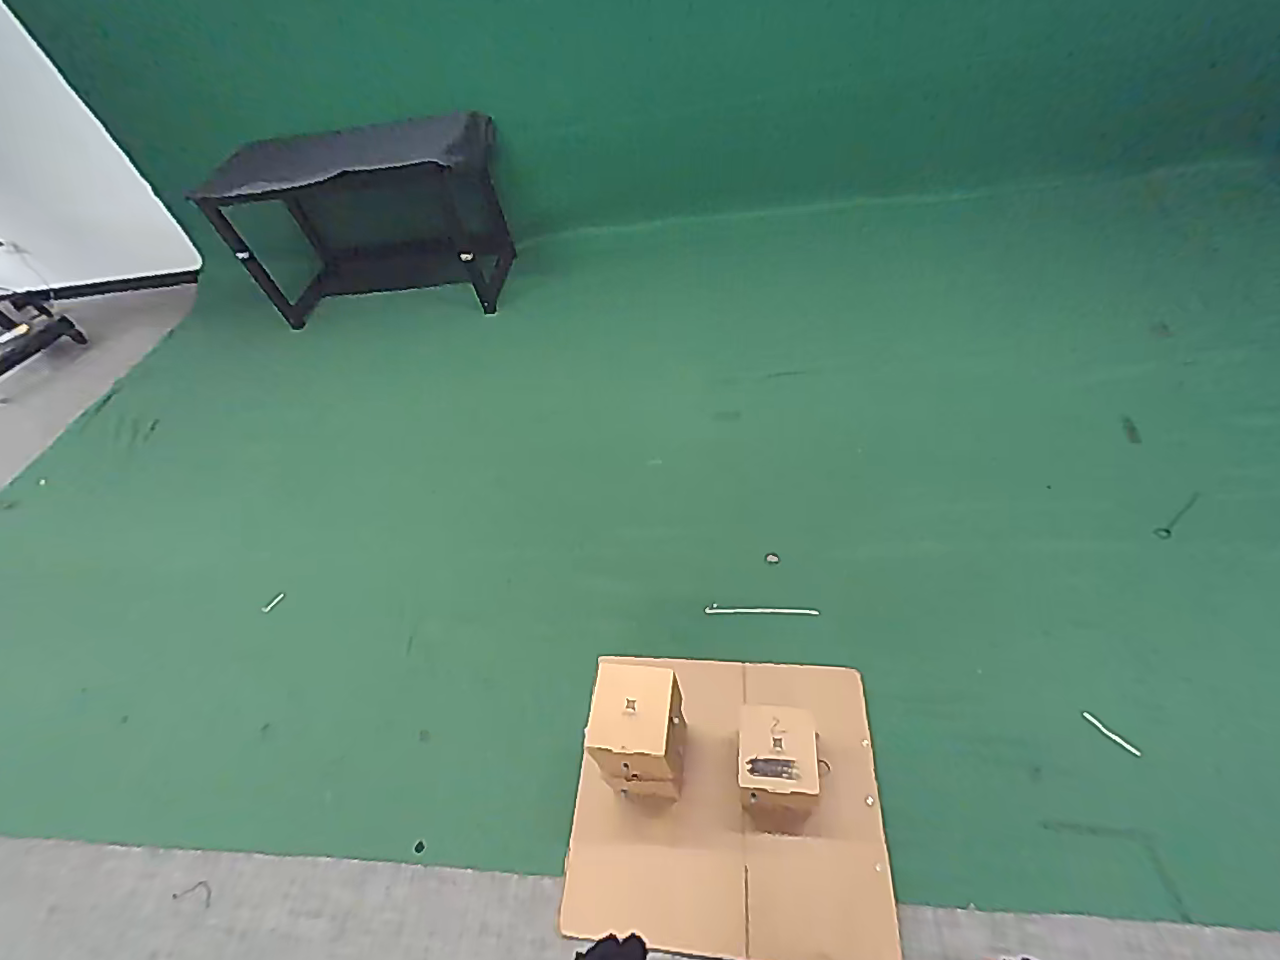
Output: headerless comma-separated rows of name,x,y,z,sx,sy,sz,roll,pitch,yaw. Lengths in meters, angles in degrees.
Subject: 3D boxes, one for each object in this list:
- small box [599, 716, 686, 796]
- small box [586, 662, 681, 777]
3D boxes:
small box,0.014,0.630,1.279,0.168,0.176,0.179,0,49,12
small box,-0.004,0.515,1.164,0.168,0.176,0.179,1,50,12
